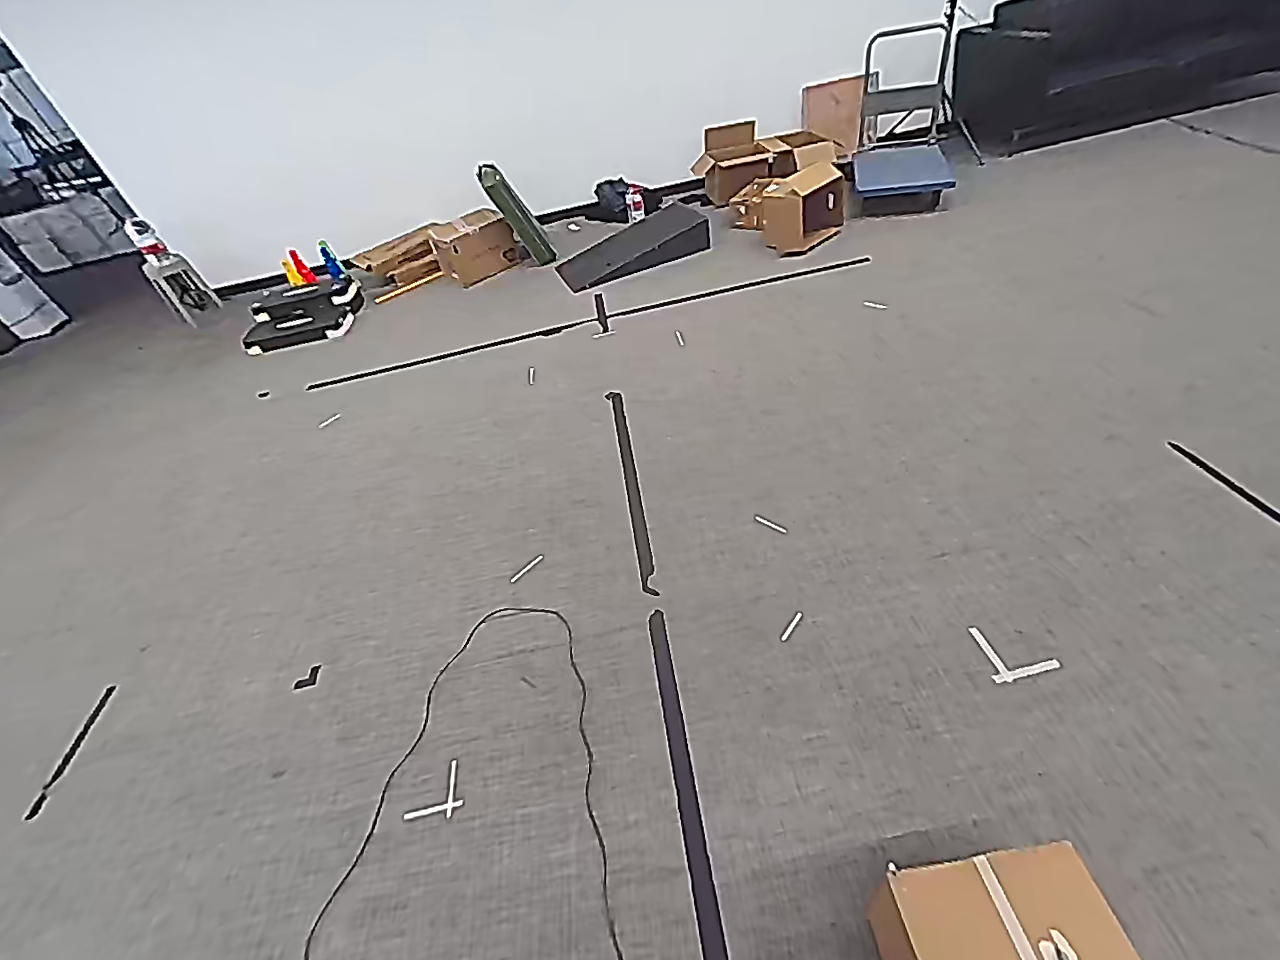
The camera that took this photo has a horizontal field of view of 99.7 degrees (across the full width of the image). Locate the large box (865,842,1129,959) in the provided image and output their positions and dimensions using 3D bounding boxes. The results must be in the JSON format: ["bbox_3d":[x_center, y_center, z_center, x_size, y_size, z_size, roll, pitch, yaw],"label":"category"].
[{"bbox_3d":[0.611,0.885,0.876,0.320,0.320,0.408,-10,42,1],"label":"large box"}]
